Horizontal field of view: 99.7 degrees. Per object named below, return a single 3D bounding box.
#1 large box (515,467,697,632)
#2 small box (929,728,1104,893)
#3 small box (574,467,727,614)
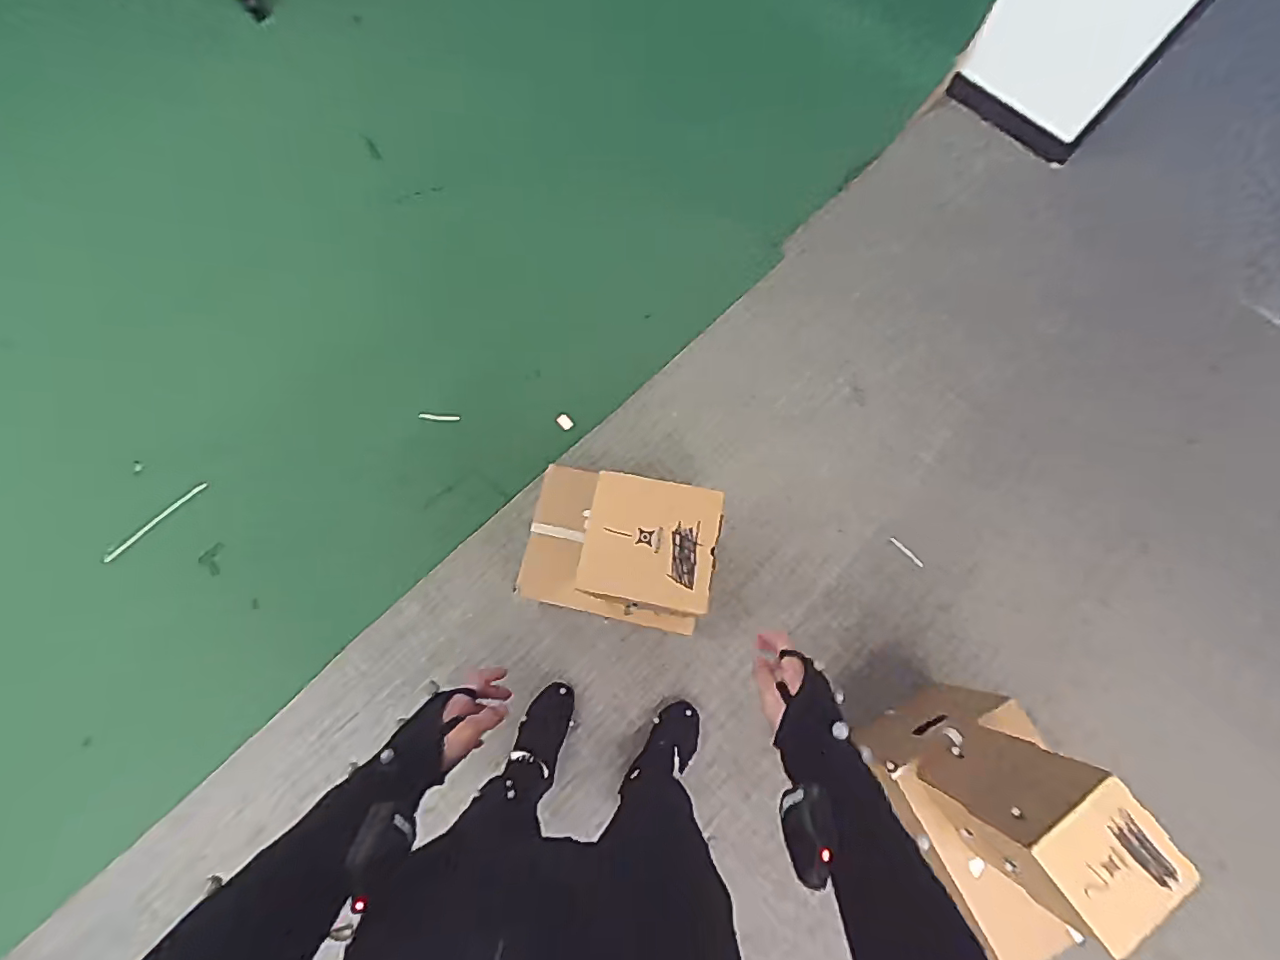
[{"bbox_3d":[-0.047,0.189,1.354,0.408,0.320,0.320,12,74,4],"label":"large box"},{"bbox_3d":[0.667,0.589,0.990,0.179,0.176,0.168,-34,78,-7],"label":"small box"},{"bbox_3d":[0.018,0.096,0.786,0.179,0.176,0.168,11,75,5],"label":"small box"}]
